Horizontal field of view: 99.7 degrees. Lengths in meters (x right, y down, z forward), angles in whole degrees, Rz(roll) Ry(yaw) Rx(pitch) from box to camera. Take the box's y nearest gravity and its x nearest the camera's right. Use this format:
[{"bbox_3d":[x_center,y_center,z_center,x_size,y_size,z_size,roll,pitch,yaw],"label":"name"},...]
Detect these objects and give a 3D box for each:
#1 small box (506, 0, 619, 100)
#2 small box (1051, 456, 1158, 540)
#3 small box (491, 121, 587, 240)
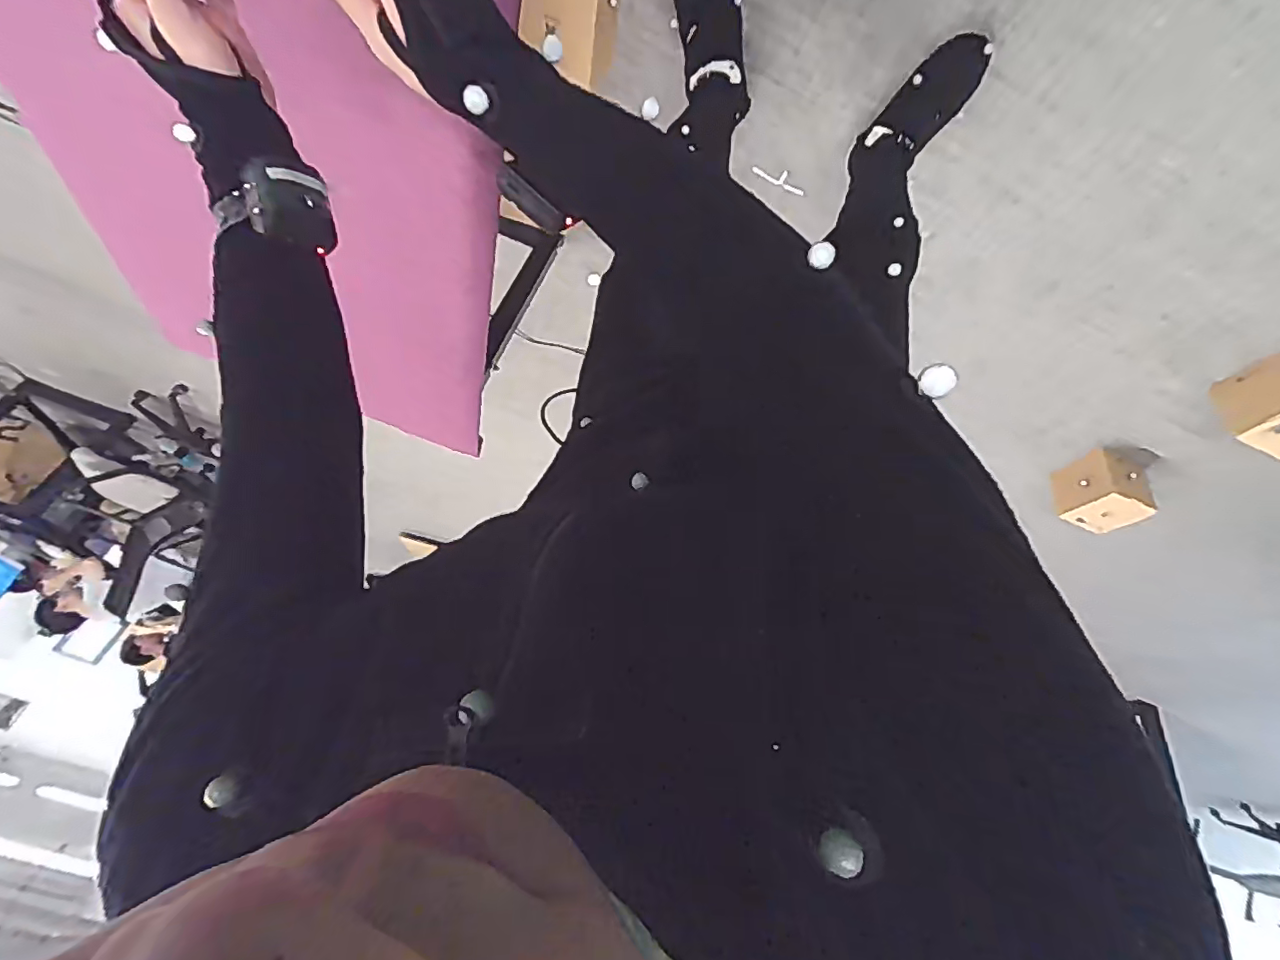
[{"bbox_3d":[-0.142,-0.862,1.007,0.168,0.176,0.179,18,147,-2],"label":"small box"},{"bbox_3d":[1.417,0.054,1.664,0.168,0.176,0.179,22,145,-8],"label":"small box"},{"bbox_3d":[-0.232,-0.705,1.268,0.179,0.176,0.168,17,146,-1],"label":"small box"}]
